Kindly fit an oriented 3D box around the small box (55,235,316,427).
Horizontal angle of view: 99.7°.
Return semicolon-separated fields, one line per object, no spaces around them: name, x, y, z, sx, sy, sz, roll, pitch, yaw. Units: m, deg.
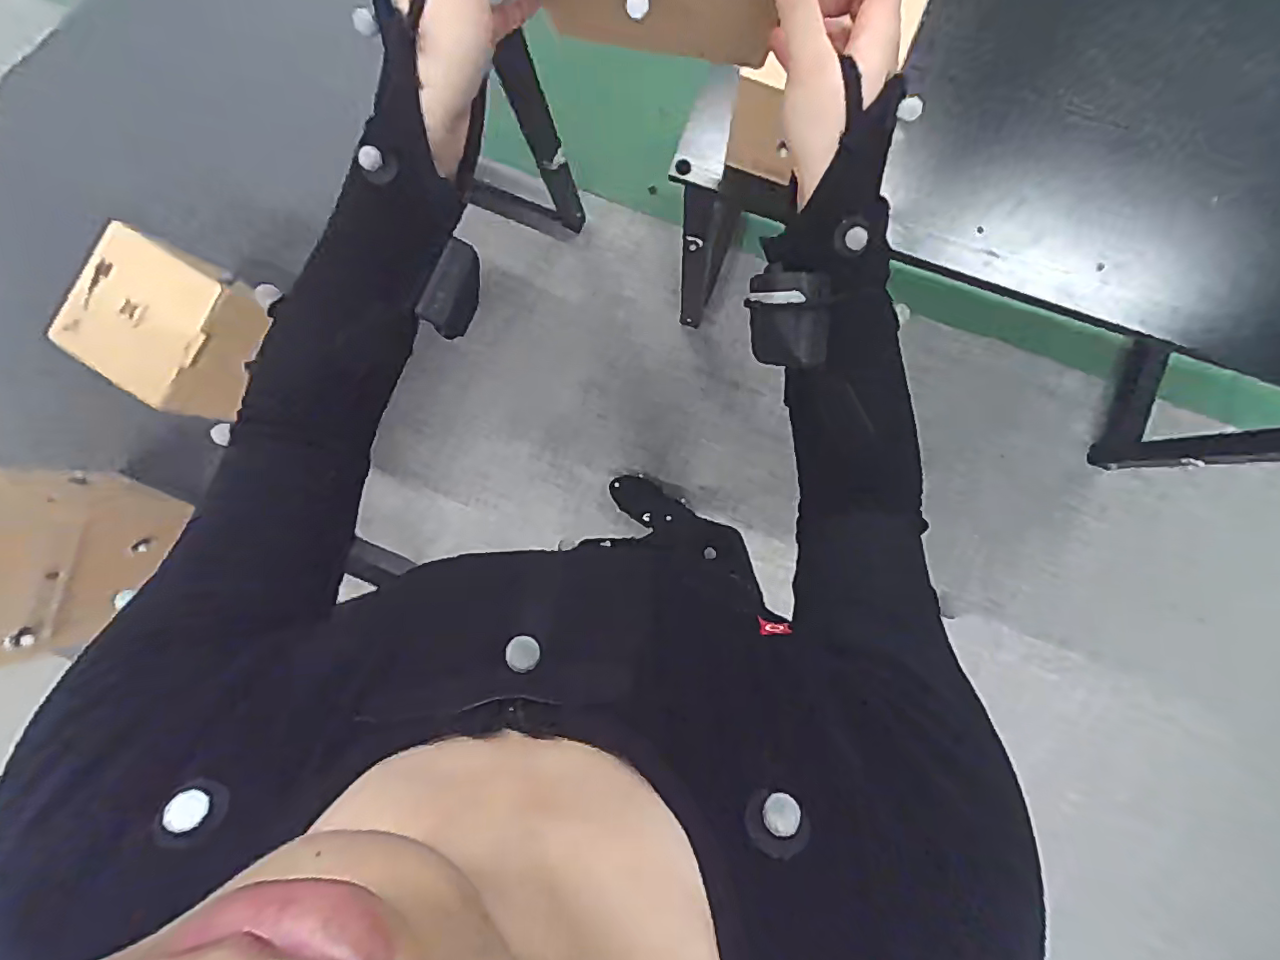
small box;-0.586;-0.182;0.723;0.179;0.176;0.168;31;92;5

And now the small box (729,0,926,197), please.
small box;0.218;-0.491;0.670;0.168;0.176;0.179;21;90;3

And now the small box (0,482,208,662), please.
small box;-0.743;0.111;0.731;0.168;0.176;0.179;21;91;6

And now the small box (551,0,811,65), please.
small box;0.032;-0.388;0.337;0.179;0.176;0.168;10;114;2
